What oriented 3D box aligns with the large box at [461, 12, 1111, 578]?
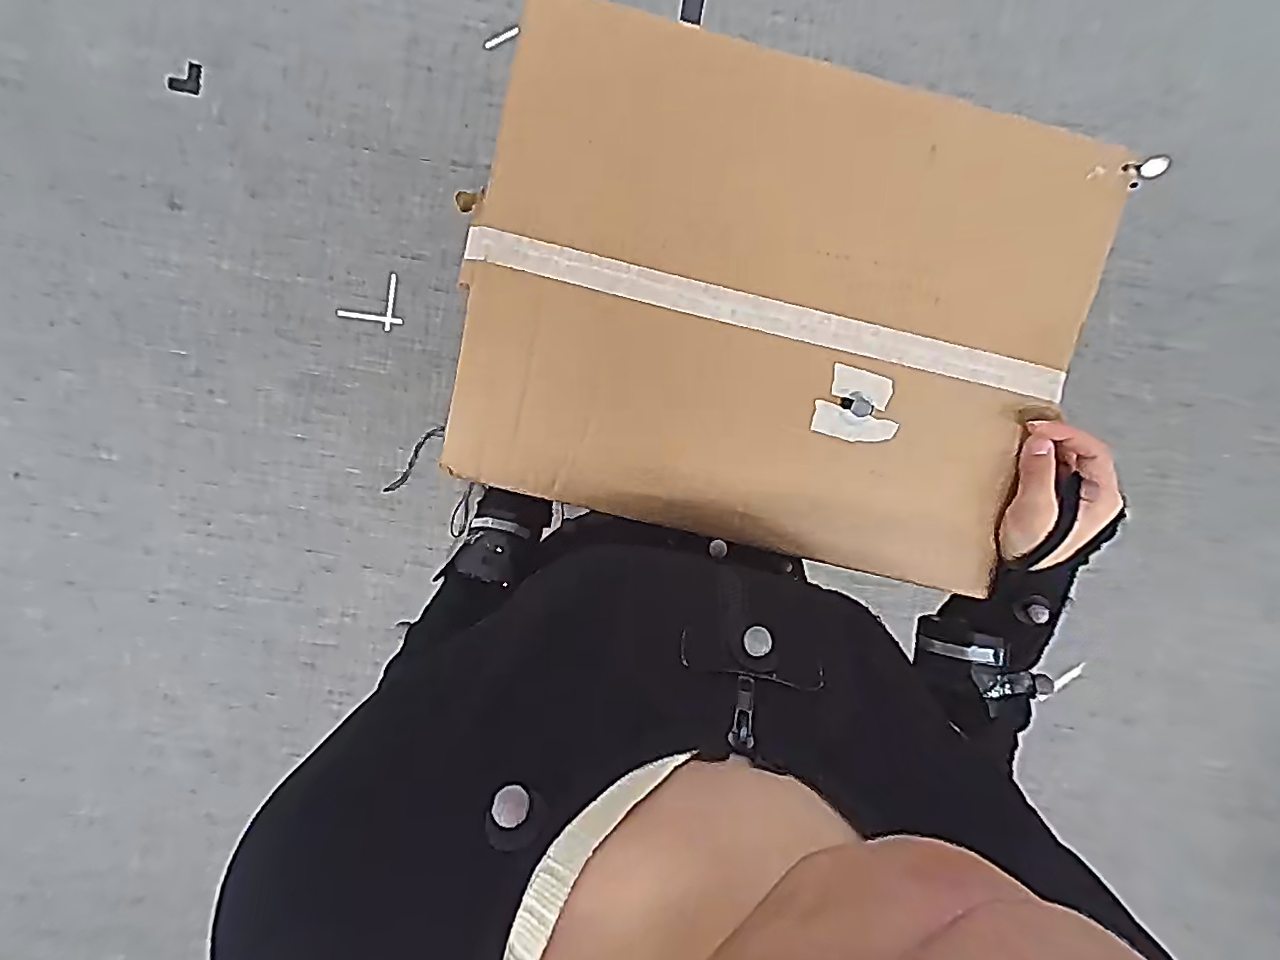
[{"bbox_3d":[0.089,-0.132,0.519,0.408,0.320,0.320,12,99,-4],"label":"large box"}]
